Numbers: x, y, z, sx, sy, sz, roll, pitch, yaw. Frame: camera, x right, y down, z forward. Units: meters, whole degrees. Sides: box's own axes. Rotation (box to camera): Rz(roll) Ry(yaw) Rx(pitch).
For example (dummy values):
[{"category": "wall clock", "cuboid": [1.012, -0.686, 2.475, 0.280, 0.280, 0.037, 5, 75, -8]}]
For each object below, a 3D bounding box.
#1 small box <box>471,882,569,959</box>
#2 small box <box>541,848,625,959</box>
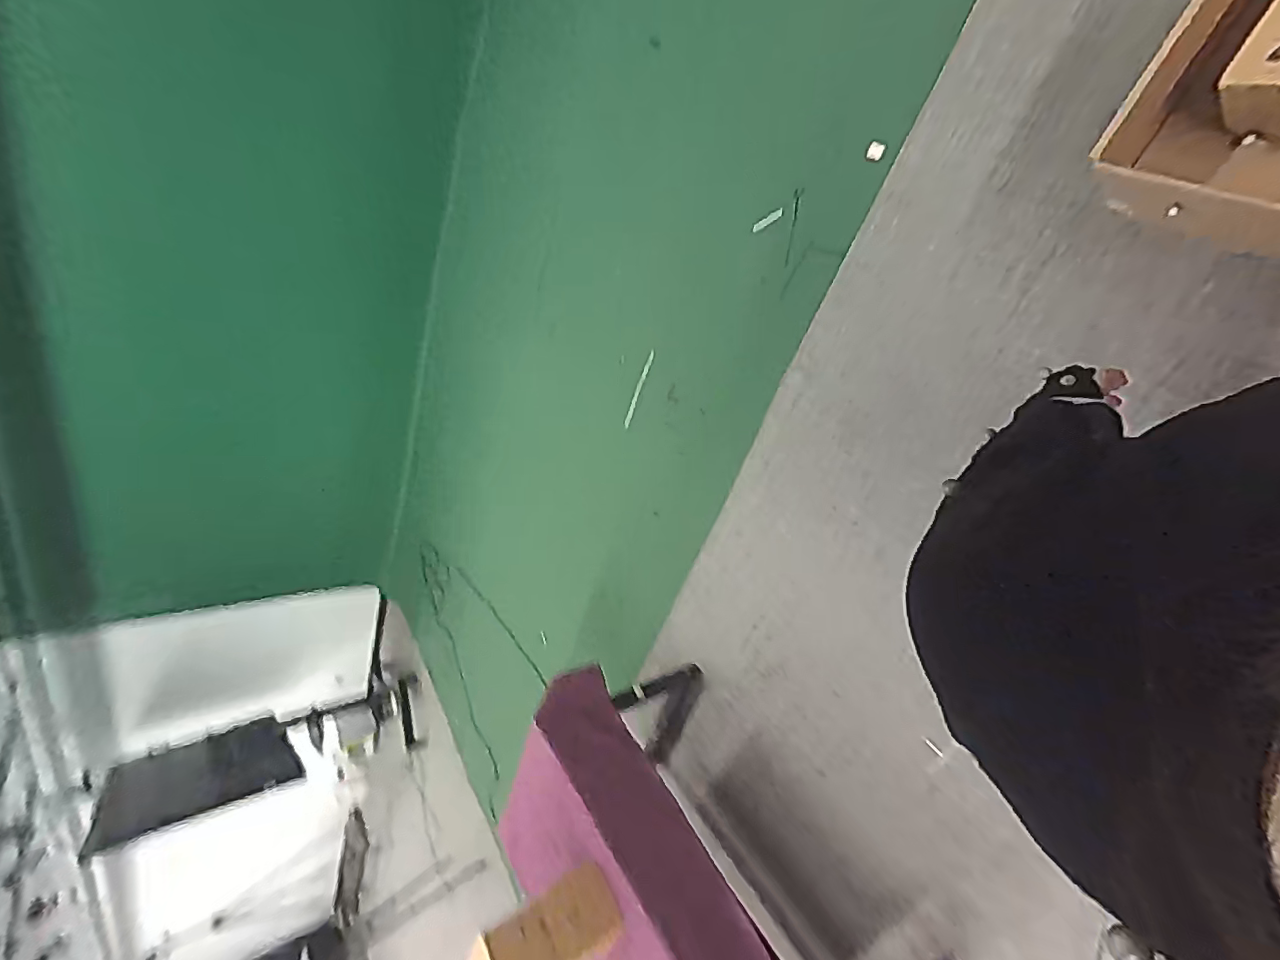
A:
[{"category": "small box", "cuboid": [-0.295, 1.146, 1.336, 0.168, 0.176, 0.179, 50, 129, 37]}, {"category": "small box", "cuboid": [-0.166, 1.132, 1.436, 0.179, 0.176, 0.168, 49, 127, 37]}]
